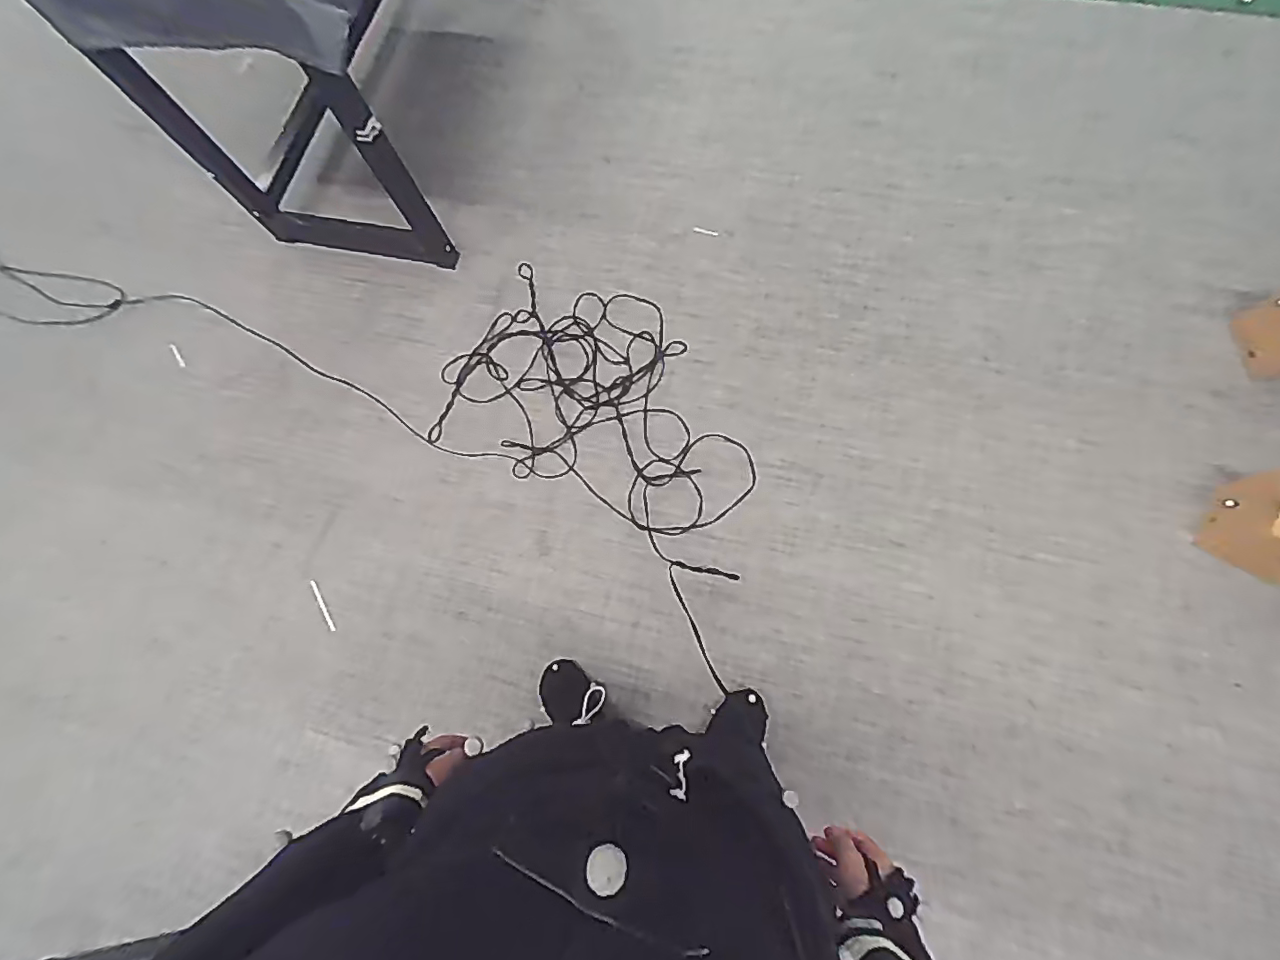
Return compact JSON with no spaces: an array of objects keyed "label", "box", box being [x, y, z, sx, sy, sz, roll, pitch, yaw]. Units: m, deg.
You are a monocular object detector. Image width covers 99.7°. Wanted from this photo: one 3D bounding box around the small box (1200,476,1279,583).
[{"label":"small box","box":[1.318,0.099,1.090,0.179,0.176,0.168,31,79,13]}]
